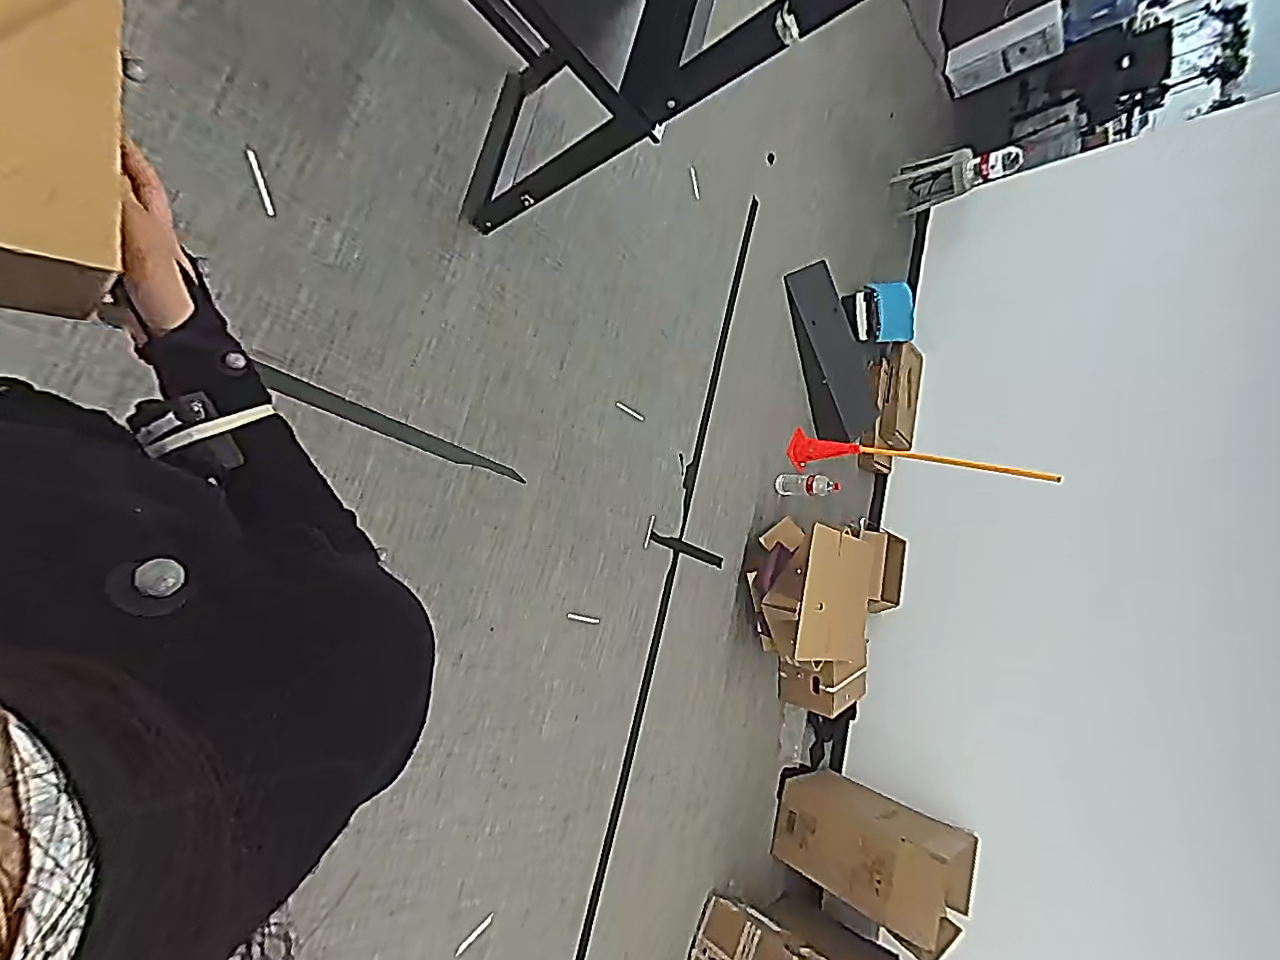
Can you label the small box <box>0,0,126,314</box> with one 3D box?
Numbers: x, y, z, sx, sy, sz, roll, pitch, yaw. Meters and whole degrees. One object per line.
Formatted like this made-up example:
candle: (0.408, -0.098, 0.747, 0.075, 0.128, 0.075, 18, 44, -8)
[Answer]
small box: (-0.405, -0.204, 0.295, 0.168, 0.176, 0.179, -1, 91, -51)
